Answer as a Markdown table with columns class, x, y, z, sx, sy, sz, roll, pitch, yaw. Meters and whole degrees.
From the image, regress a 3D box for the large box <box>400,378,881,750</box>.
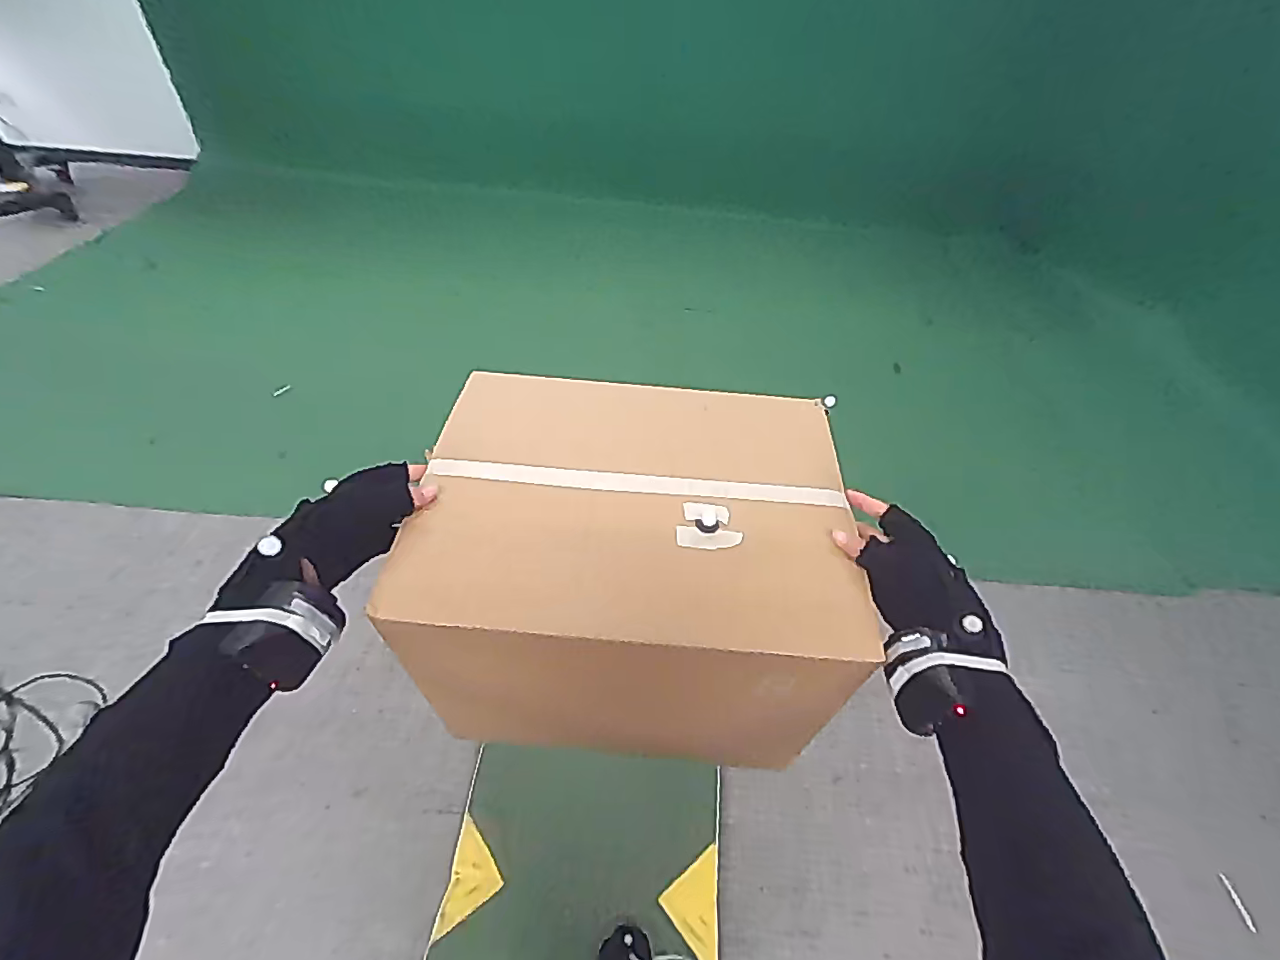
| class | x | y | z | sx | sy | sz | roll | pitch | yaw |
| --- | --- | --- | --- | --- | --- | --- | --- | --- | --- |
| large box | -0.001 | 0.106 | 0.646 | 0.408 | 0.320 | 0.320 | 5 | 49 | 0 |
